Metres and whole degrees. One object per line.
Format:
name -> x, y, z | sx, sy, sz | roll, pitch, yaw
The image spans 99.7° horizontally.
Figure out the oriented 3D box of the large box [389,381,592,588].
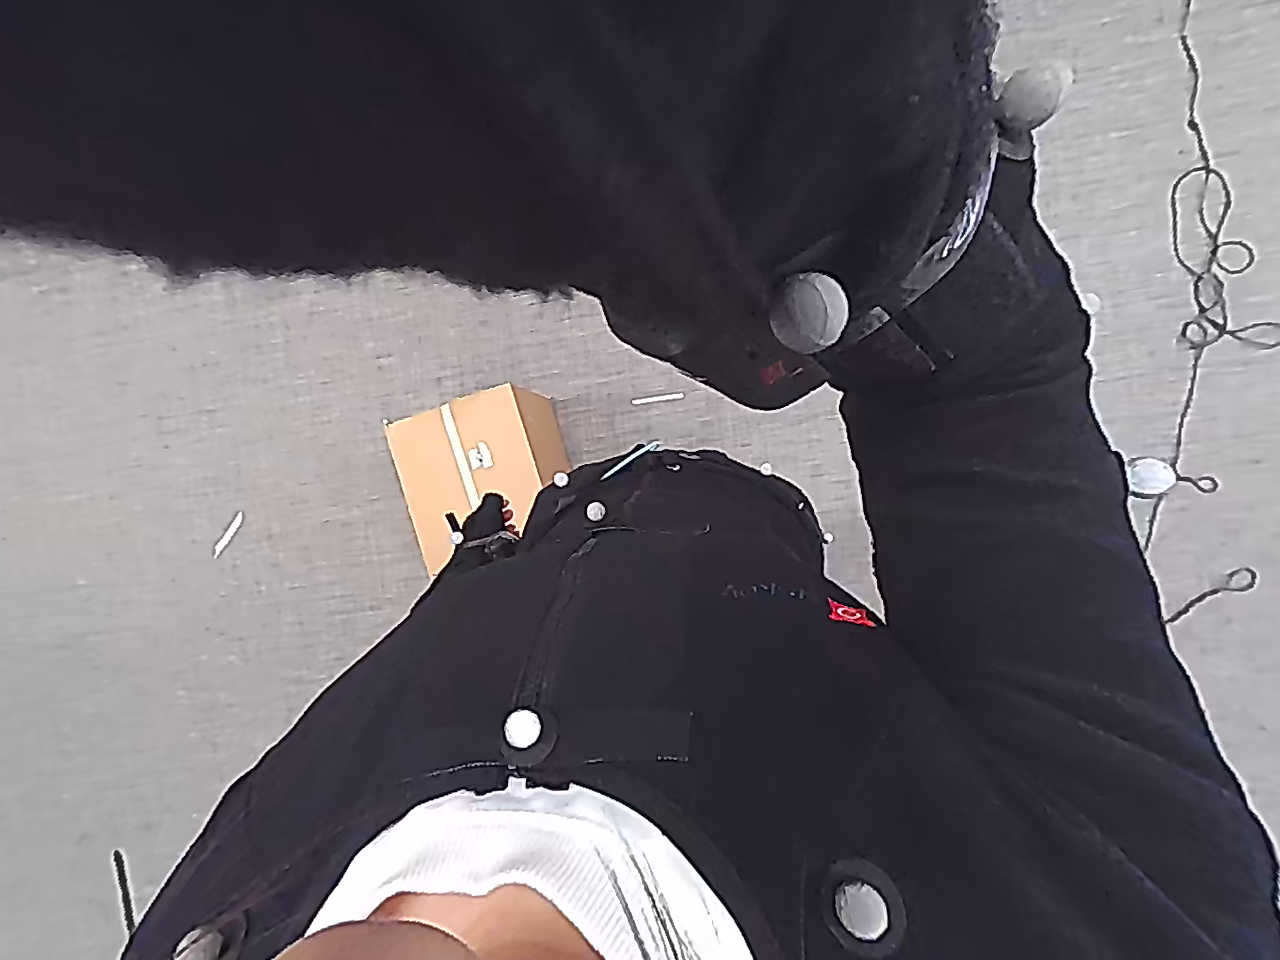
large box -> -0.348, 0.011, 1.352 | 0.320, 0.320, 0.408 | -17, 89, 6
